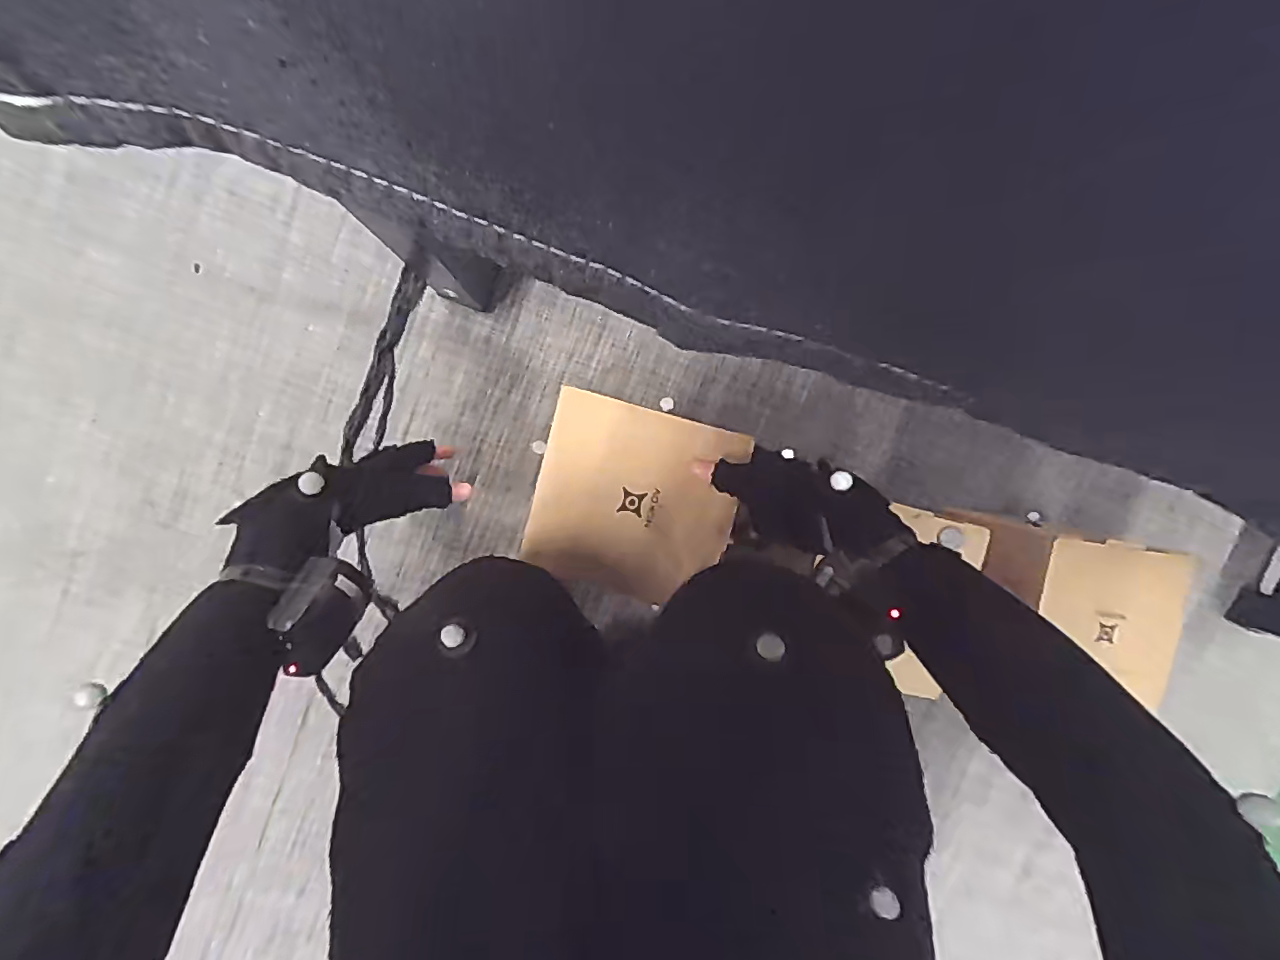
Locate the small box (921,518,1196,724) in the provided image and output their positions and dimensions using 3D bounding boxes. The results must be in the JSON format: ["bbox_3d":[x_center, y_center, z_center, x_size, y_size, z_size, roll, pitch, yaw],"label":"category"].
[{"bbox_3d":[0.450,0.145,0.610,0.168,0.176,0.179,8,95,-9],"label":"small box"}]
